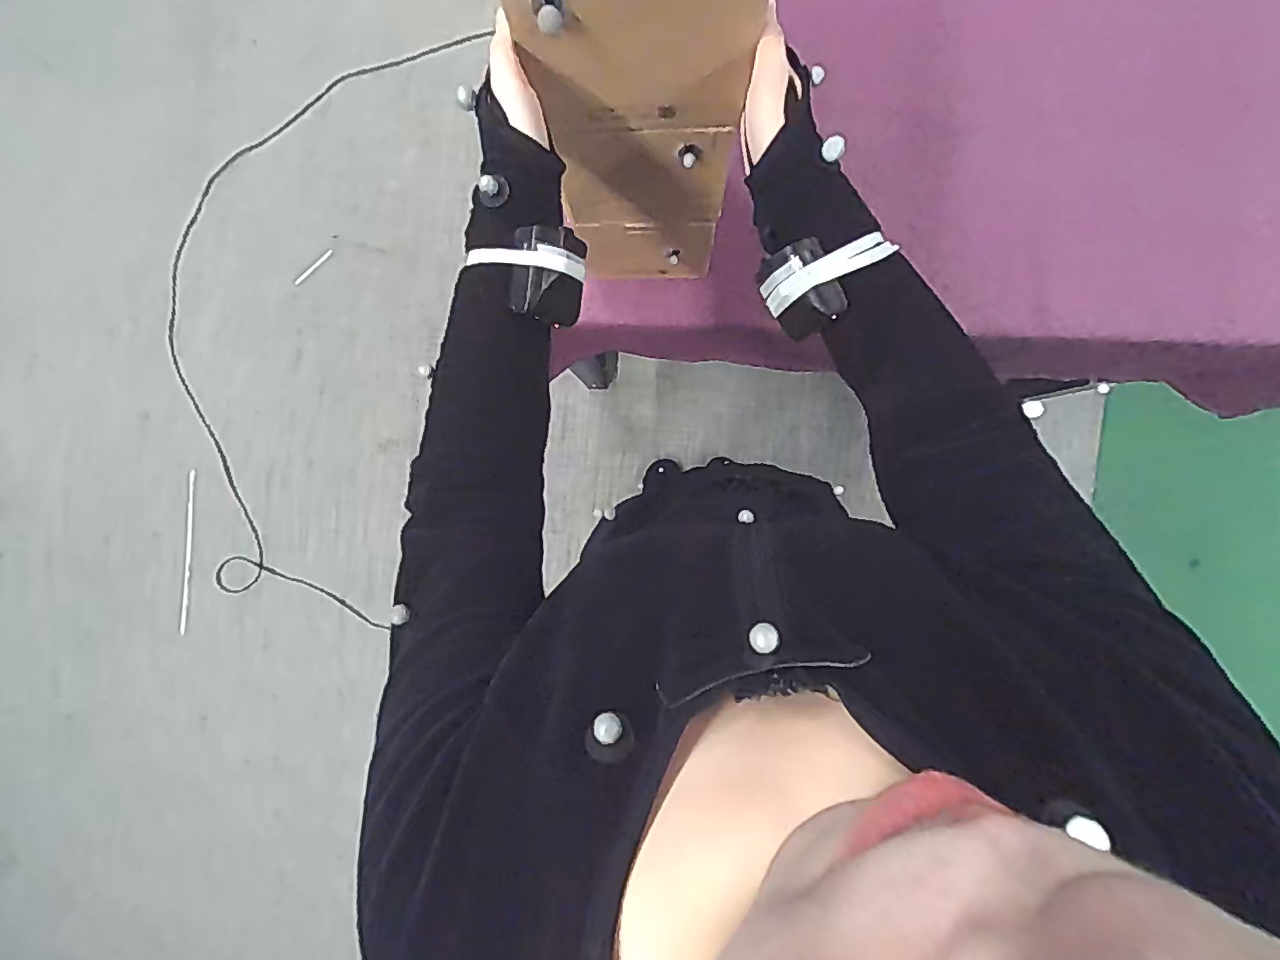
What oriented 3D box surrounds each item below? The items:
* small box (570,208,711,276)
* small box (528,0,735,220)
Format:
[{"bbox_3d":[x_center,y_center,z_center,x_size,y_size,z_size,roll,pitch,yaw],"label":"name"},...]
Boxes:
[{"bbox_3d":[0.007,-0.376,0.696,0.168,0.176,0.179,1,90,2],"label":"small box"},{"bbox_3d":[-0.005,-0.375,0.534,0.179,0.176,0.168,-1,91,1],"label":"small box"}]
